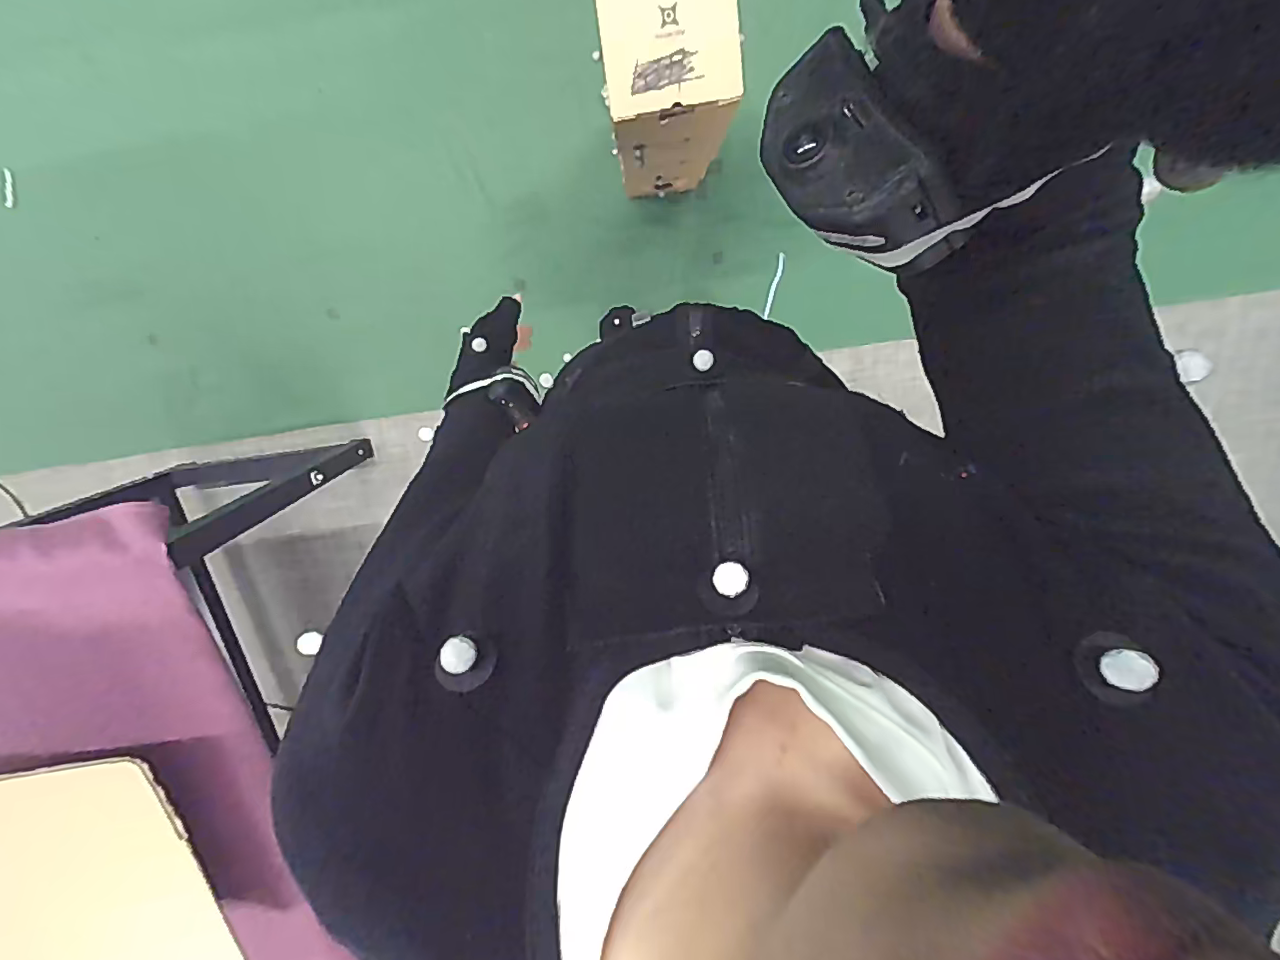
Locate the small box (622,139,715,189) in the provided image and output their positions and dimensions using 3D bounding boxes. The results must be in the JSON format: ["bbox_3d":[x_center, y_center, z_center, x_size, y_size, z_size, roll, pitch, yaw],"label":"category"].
[{"bbox_3d":[0.045,-0.676,1.028,0.168,0.176,0.179,-8,109,4],"label":"small box"}]

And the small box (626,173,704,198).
[{"bbox_3d":[0.047,-0.735,1.180,0.168,0.176,0.179,-5,109,4],"label":"small box"}]

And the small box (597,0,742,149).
[{"bbox_3d":[0.038,-0.561,0.719,0.168,0.176,0.179,-8,107,3],"label":"small box"}]
